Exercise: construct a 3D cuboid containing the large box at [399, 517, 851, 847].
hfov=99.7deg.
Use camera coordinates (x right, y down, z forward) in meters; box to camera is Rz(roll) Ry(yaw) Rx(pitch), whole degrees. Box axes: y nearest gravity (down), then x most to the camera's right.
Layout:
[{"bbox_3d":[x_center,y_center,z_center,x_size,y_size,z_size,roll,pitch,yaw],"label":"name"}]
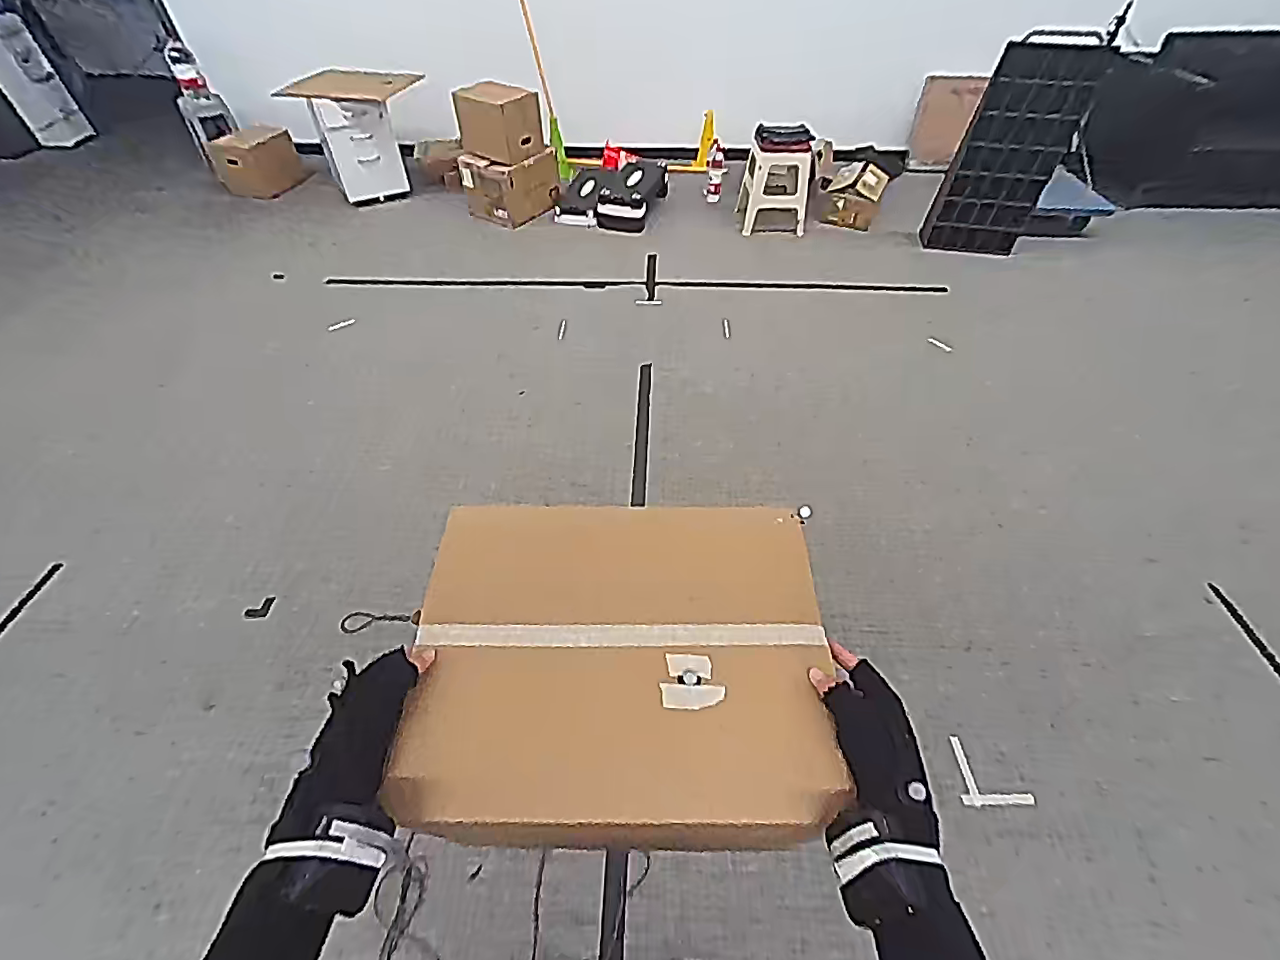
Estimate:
[{"bbox_3d":[-0.015,0.258,0.674,0.408,0.320,0.320,1,53,0],"label":"large box"}]
